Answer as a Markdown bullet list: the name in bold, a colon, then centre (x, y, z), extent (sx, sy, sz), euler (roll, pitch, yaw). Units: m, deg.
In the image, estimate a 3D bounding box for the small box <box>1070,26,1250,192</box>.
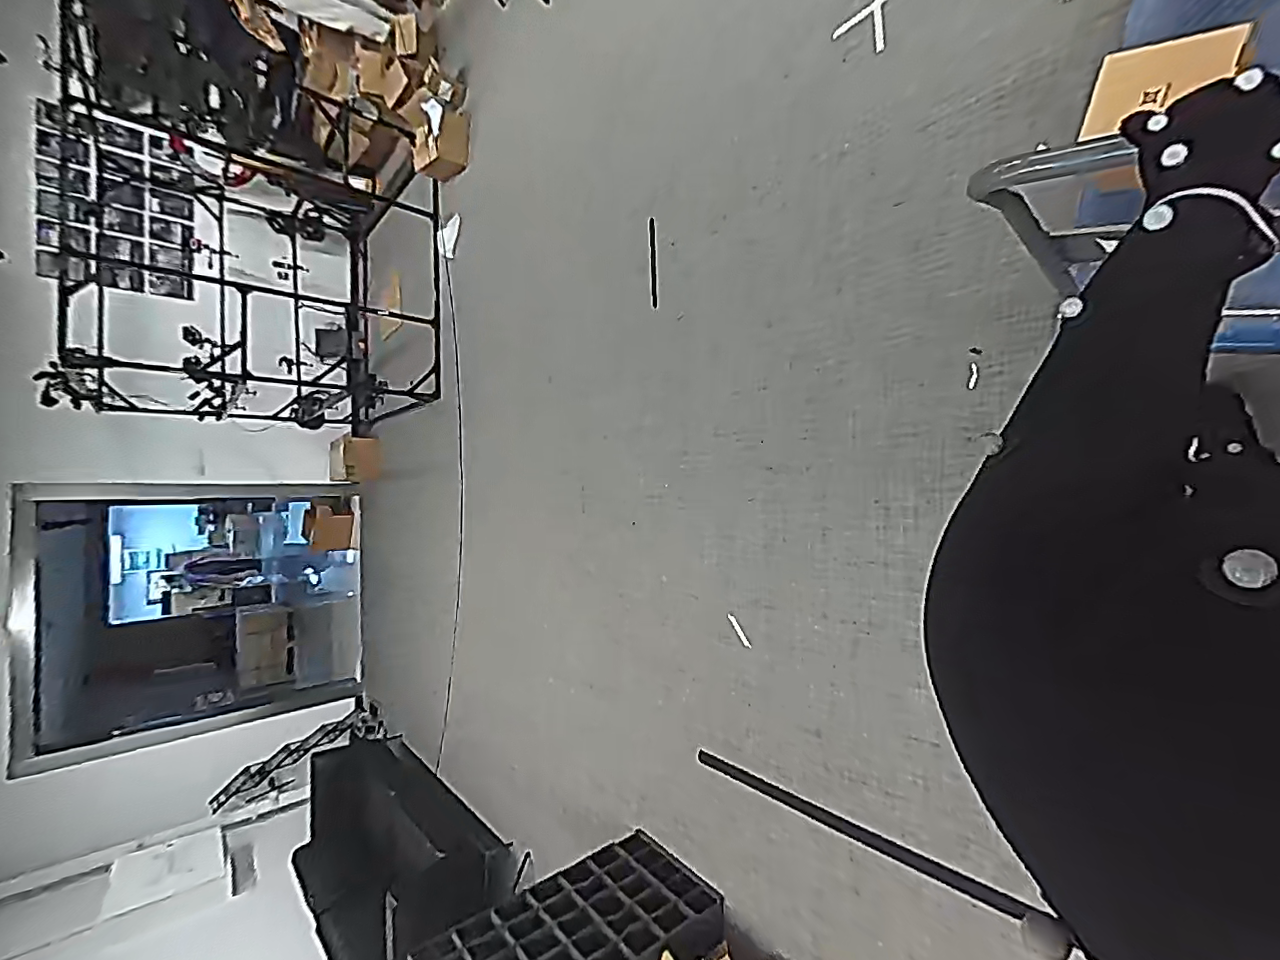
- **small box**: centre (0.884, -0.613, 0.924), extent (0.179, 0.176, 0.168), euler (24, 107, 45)
